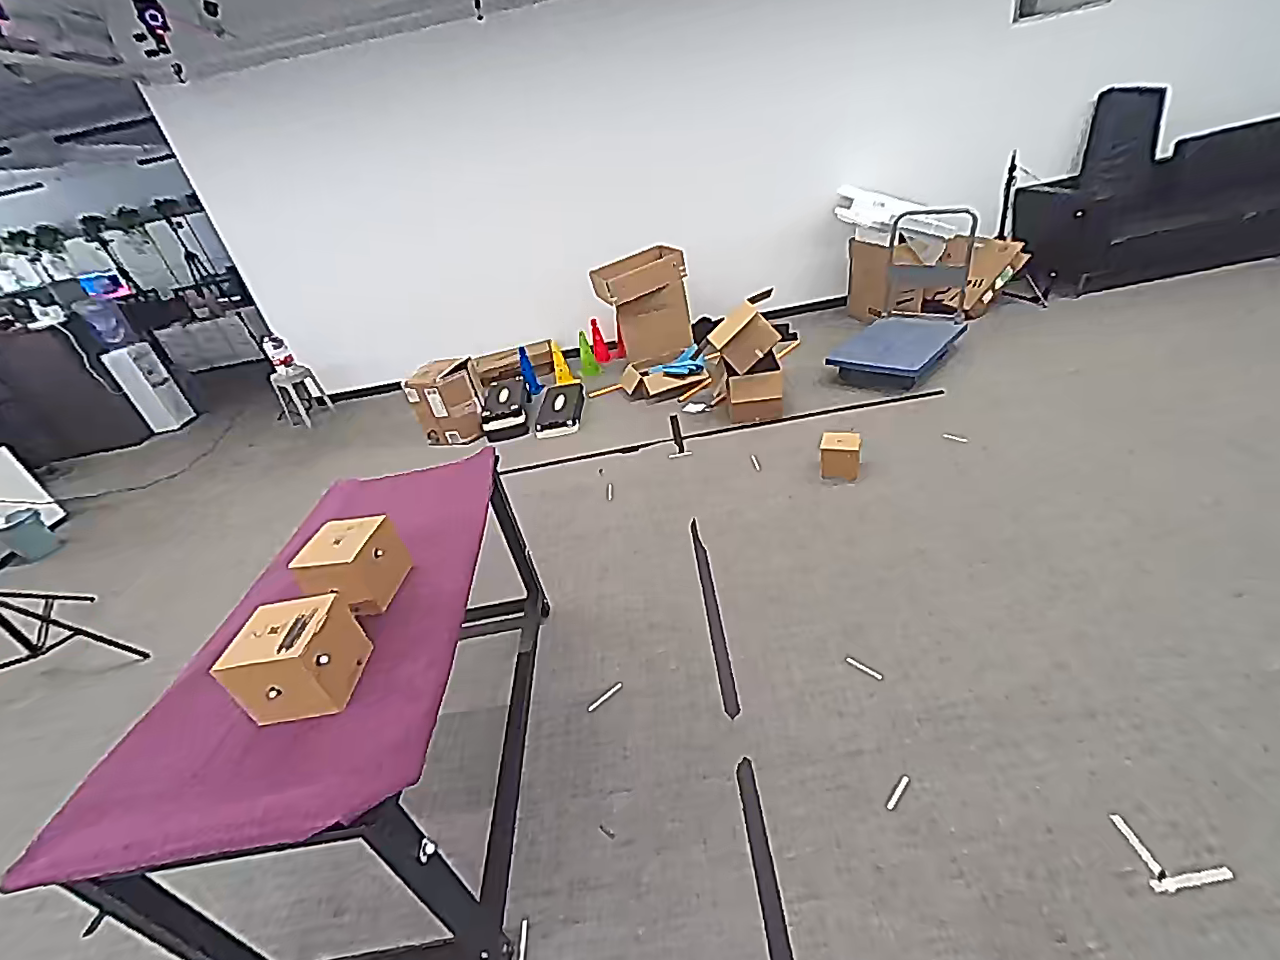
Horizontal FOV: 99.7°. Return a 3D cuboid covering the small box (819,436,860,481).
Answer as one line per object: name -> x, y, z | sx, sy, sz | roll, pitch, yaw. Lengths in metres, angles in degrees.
small box -> 0.992, -0.108, 2.688 | 0.179, 0.176, 0.168 | 4, 34, 24

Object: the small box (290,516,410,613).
small box -> -0.692, 0.211, 1.319 | 0.168, 0.176, 0.179 | -6, 32, 9
